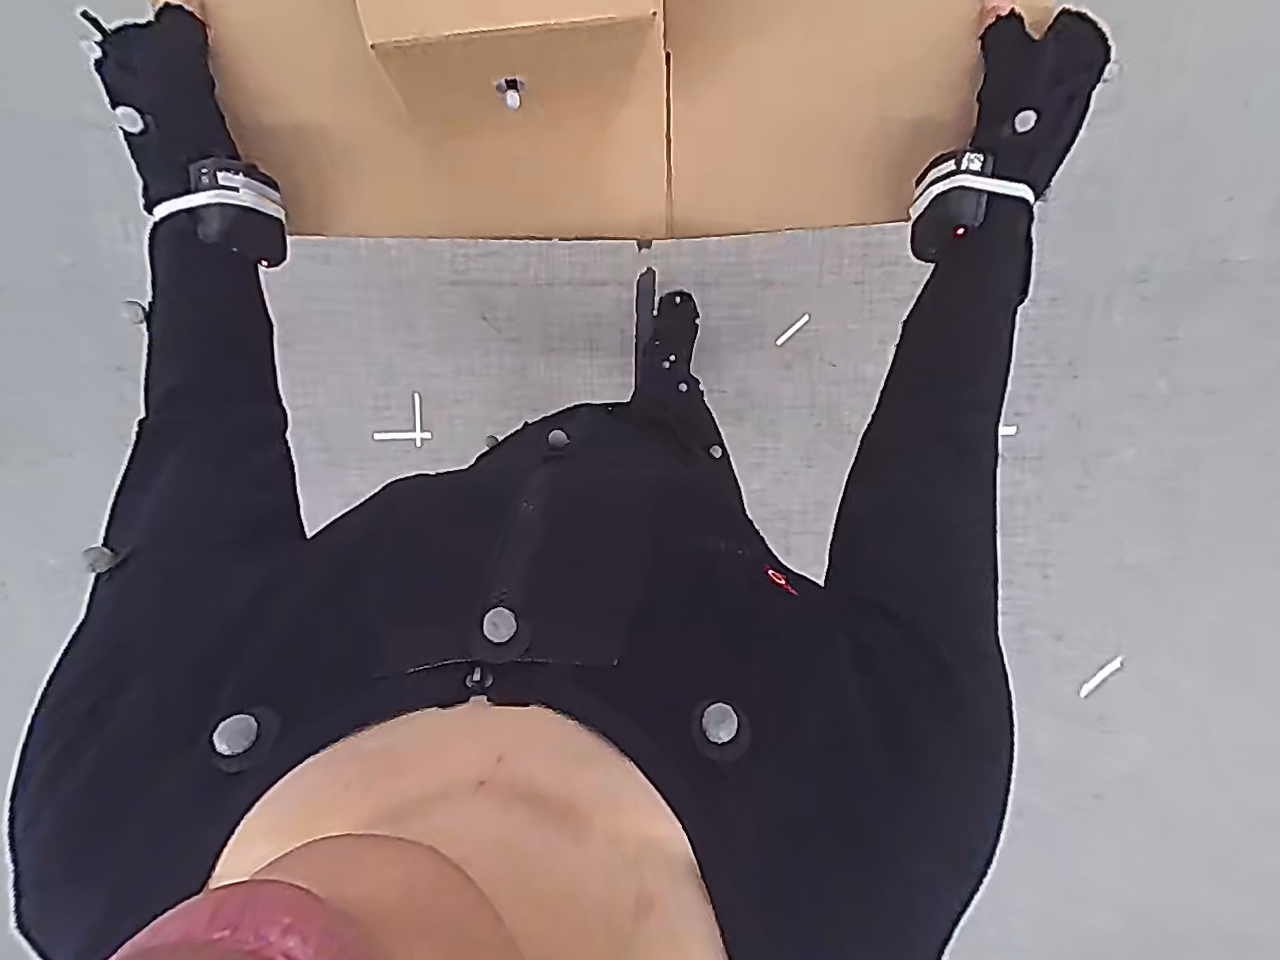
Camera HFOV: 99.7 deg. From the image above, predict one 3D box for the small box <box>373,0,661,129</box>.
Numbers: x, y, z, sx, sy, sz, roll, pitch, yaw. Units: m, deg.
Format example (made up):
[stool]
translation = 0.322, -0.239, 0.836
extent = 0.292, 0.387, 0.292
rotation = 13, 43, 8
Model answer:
[small box]
translation = -0.098, -0.376, 0.383
extent = 0.179, 0.176, 0.168
rotation = -13, 107, -7
